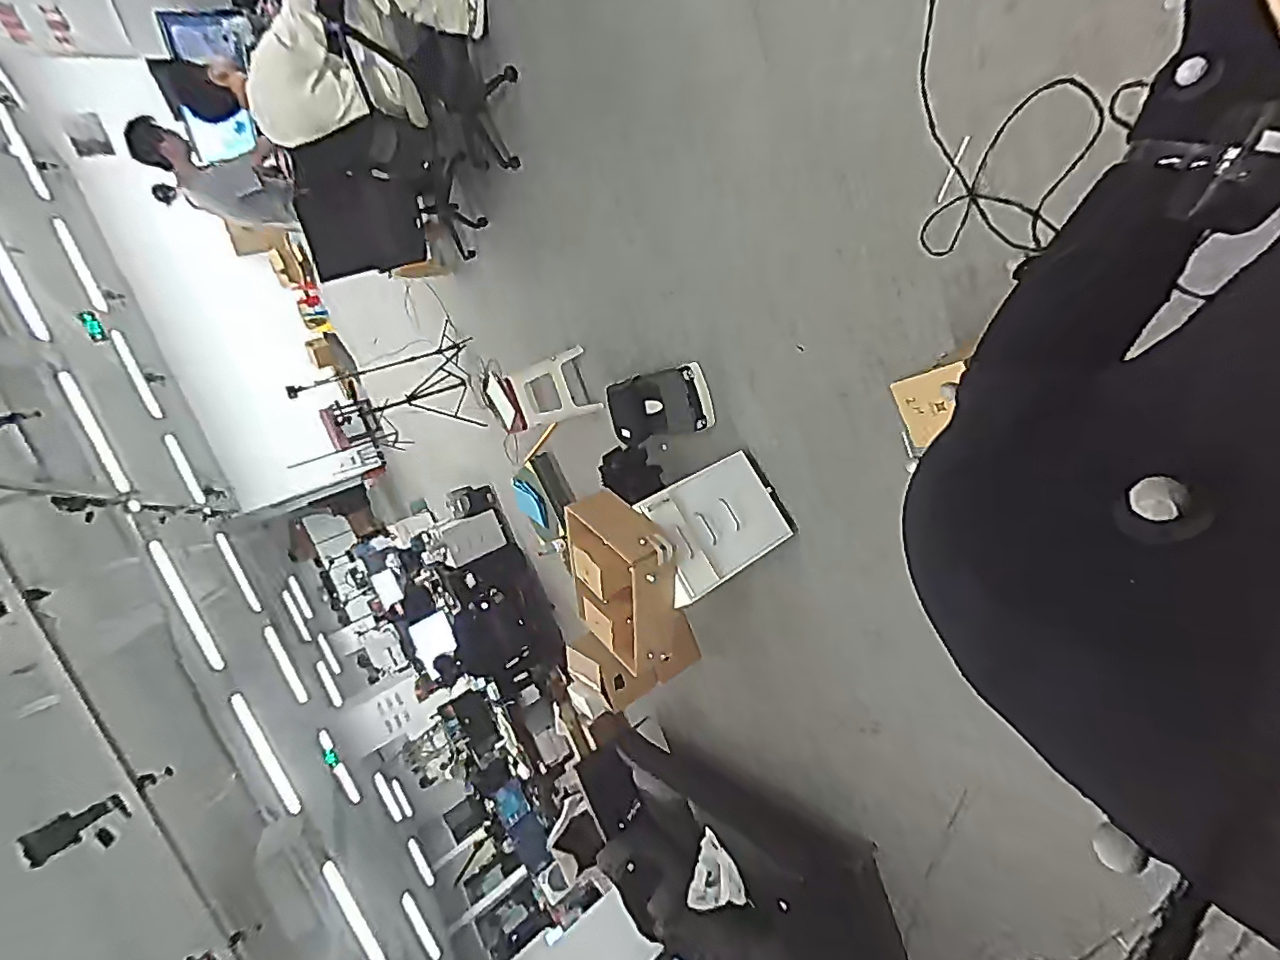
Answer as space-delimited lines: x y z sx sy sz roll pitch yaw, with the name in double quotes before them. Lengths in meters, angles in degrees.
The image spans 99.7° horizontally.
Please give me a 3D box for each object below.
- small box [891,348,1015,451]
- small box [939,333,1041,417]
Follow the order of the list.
"small box" 0.724 -0.186 1.240 0.179 0.176 0.168 -16 99 60
"small box" 0.850 -0.243 1.330 0.179 0.176 0.168 -13 102 60
